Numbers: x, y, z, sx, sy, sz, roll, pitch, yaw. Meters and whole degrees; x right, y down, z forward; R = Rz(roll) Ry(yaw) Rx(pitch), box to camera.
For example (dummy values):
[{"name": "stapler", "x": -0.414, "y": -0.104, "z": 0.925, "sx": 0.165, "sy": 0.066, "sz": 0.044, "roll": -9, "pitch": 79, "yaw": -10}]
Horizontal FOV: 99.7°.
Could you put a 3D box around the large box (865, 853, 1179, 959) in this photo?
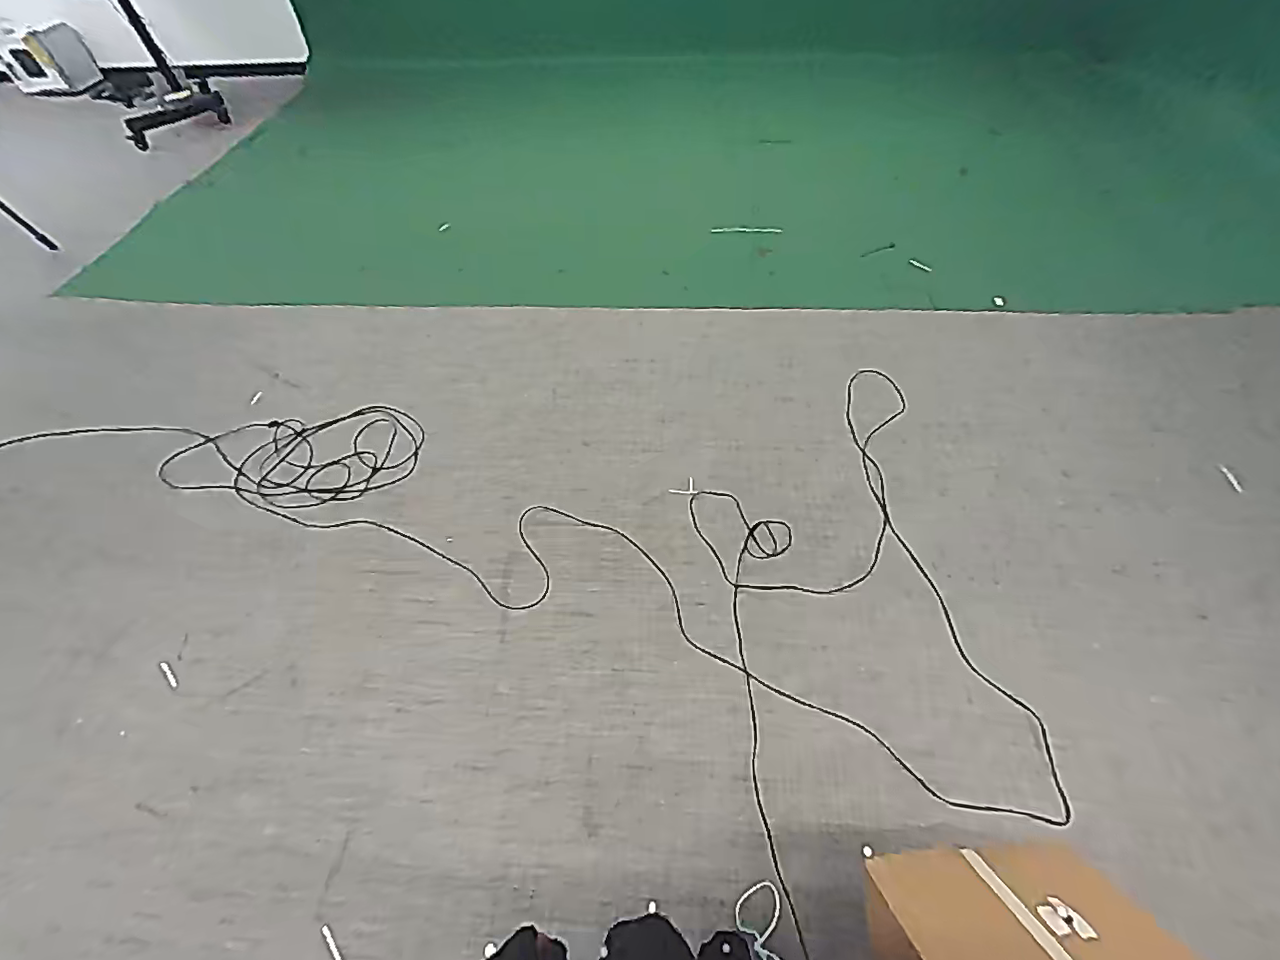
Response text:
[{"name": "large box", "x": 0.512, "y": 0.740, "z": 0.634, "sx": 0.320, "sy": 0.408, "sz": 0.320, "roll": -3, "pitch": 91, "yaw": -1}]
